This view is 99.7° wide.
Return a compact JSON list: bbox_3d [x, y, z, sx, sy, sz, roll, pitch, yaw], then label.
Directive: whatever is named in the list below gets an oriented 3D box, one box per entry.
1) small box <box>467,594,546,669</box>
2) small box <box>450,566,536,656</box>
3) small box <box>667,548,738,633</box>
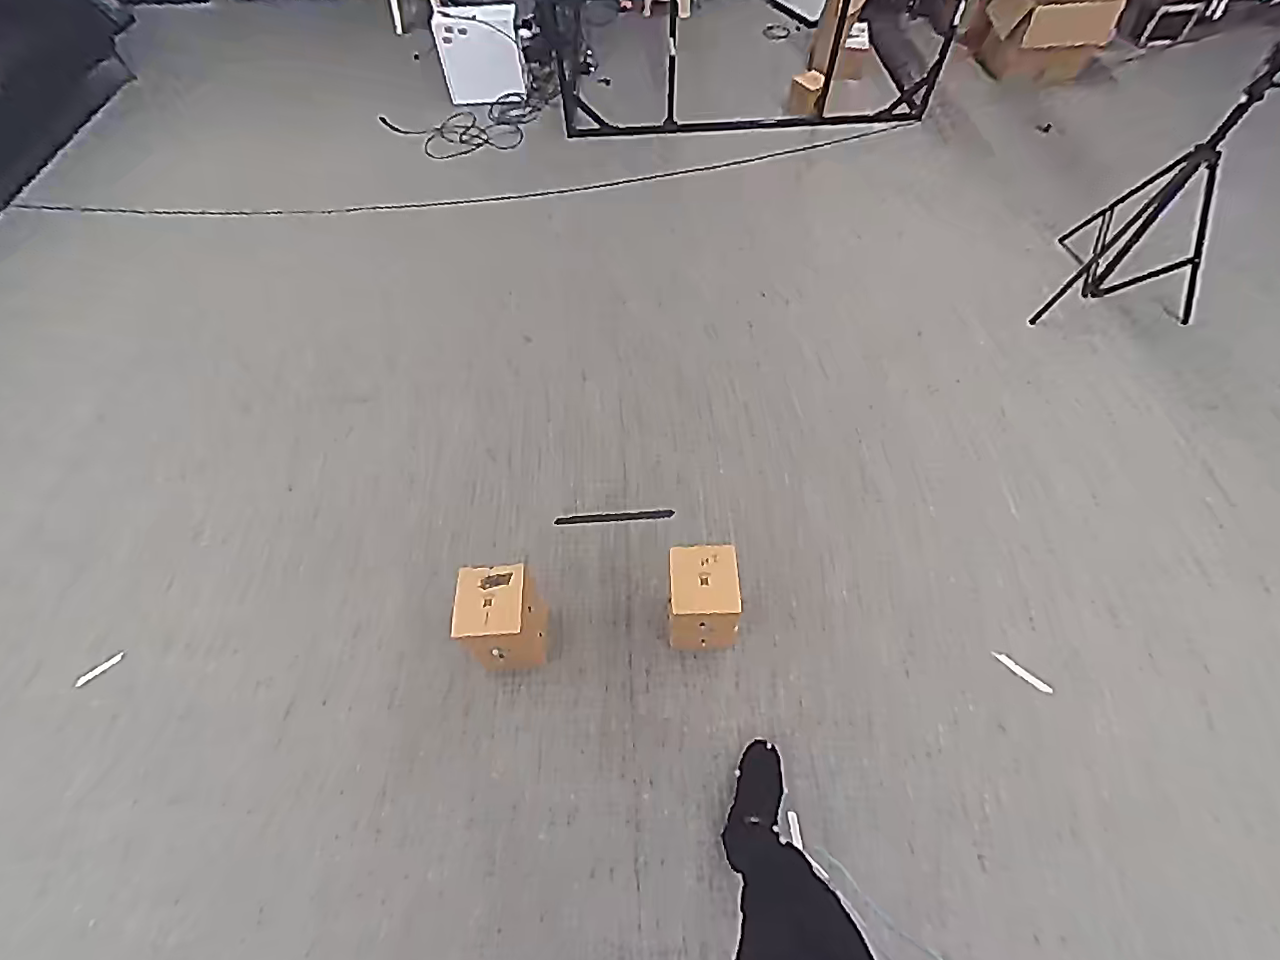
[{"bbox_3d":[-0.363,0.423,1.506,0.179,0.176,0.168,-4,58,0],"label":"small box"},{"bbox_3d":[-0.363,0.334,1.368,0.168,0.176,0.179,-4,59,0],"label":"small box"},{"bbox_3d":[0.154,0.288,1.379,0.168,0.176,0.179,-1,58,1],"label":"small box"}]
